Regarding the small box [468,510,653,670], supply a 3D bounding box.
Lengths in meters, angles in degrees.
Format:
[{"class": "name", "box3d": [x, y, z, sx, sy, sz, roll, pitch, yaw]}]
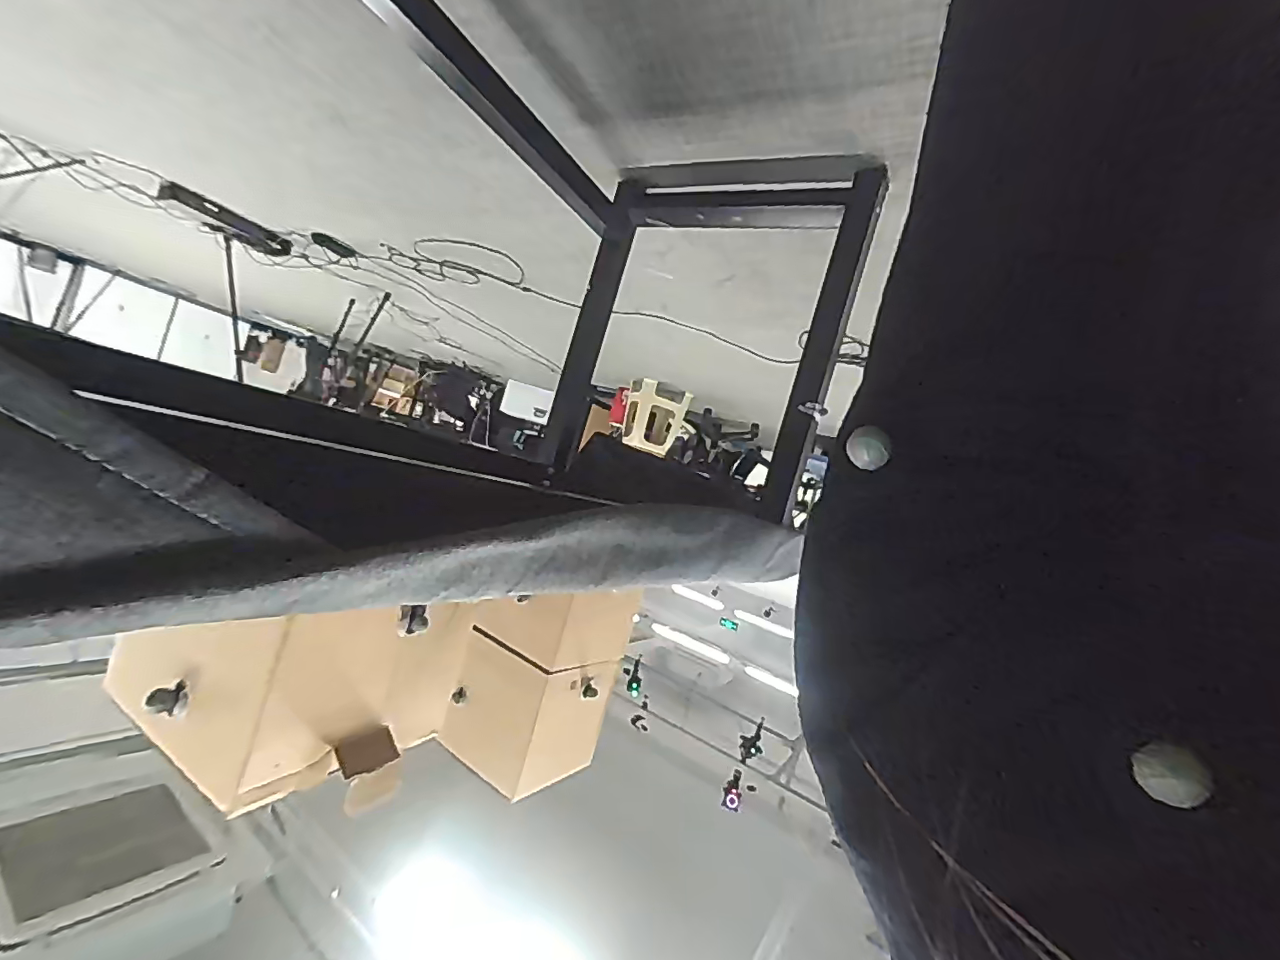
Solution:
[{"class": "small box", "box3d": [-0.107, 0.144, 0.766, 0.179, 0.176, 0.168, 16, 179, 34]}]

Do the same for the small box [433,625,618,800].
[{"class": "small box", "box3d": [-0.157, 0.299, 0.761, 0.179, 0.176, 0.168, 16, 180, 33]}]

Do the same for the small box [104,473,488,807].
[{"class": "small box", "box3d": [-0.248, 0.097, 0.416, 0.179, 0.176, 0.168, 17, 179, 26]}]
